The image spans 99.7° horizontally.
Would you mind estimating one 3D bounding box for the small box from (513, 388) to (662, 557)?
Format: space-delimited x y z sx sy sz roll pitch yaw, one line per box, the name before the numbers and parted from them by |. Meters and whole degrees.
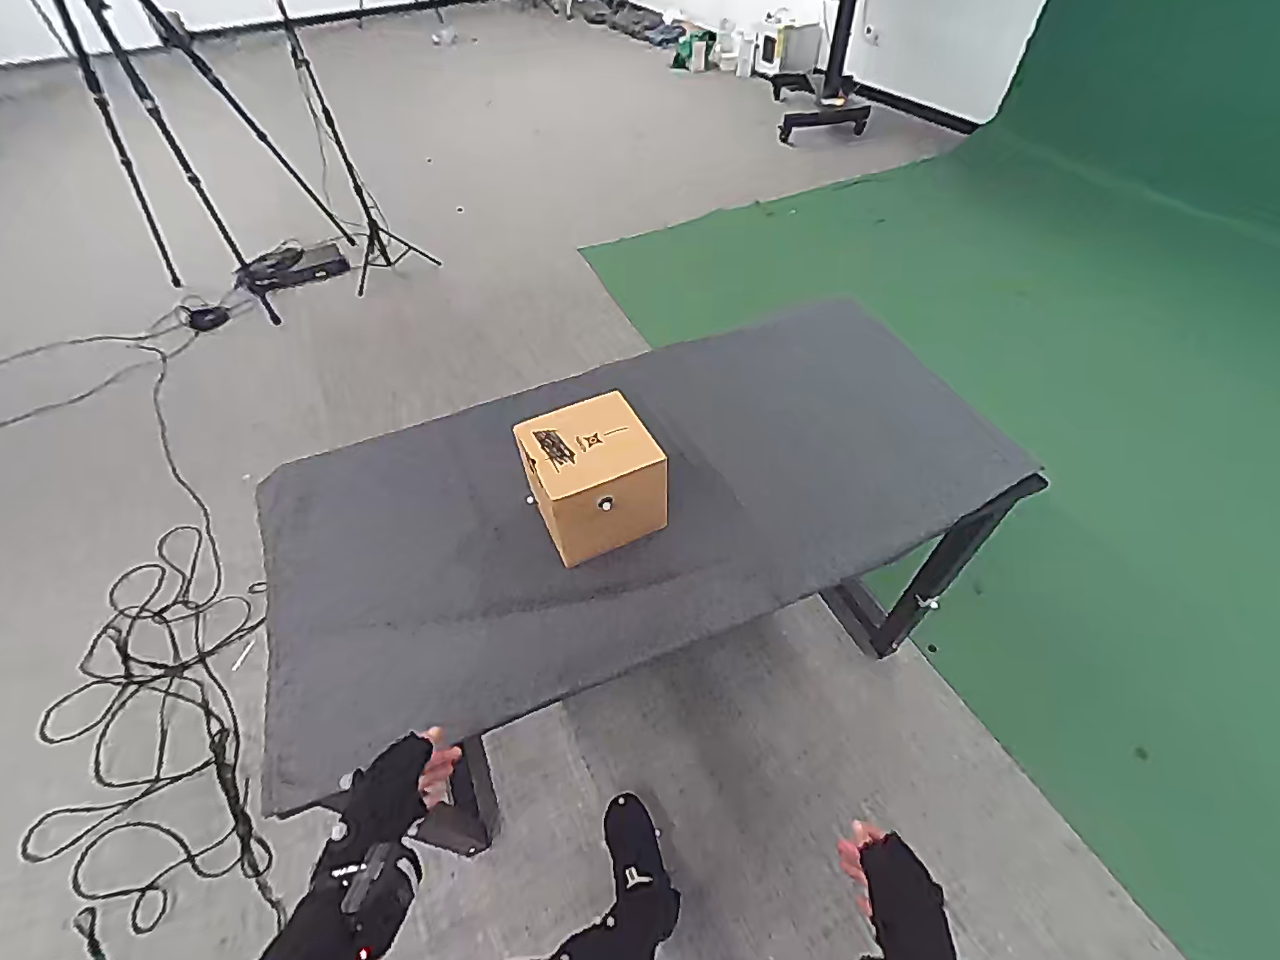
small box | -0.076 -0.009 0.839 0.179 0.176 0.168 -22 53 -16
